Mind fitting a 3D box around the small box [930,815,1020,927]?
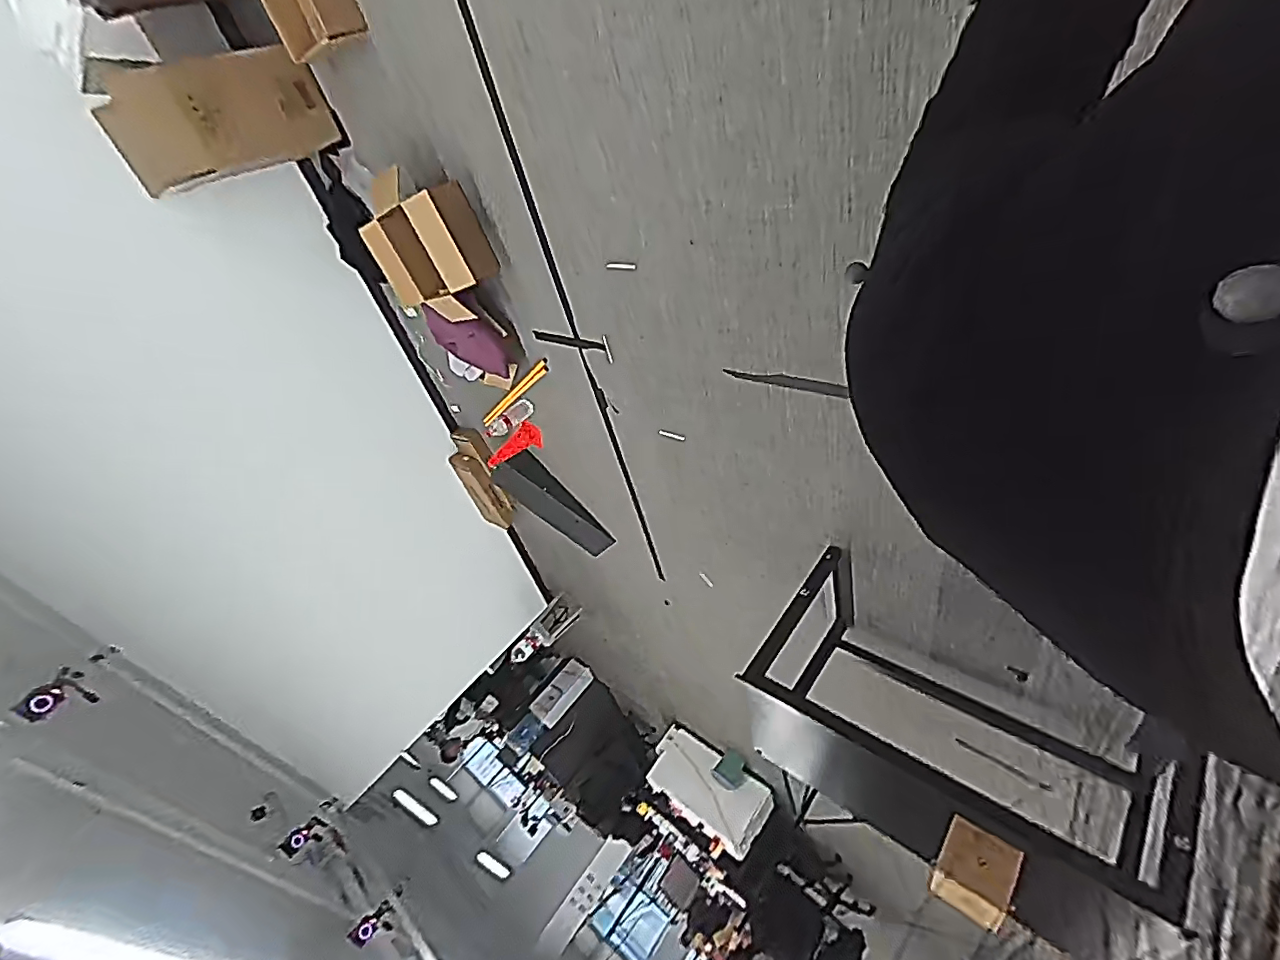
[{"bbox_3d":[0.925,1.072,1.495,0.168,0.176,0.179,20,142,39],"label":"small box"}]
